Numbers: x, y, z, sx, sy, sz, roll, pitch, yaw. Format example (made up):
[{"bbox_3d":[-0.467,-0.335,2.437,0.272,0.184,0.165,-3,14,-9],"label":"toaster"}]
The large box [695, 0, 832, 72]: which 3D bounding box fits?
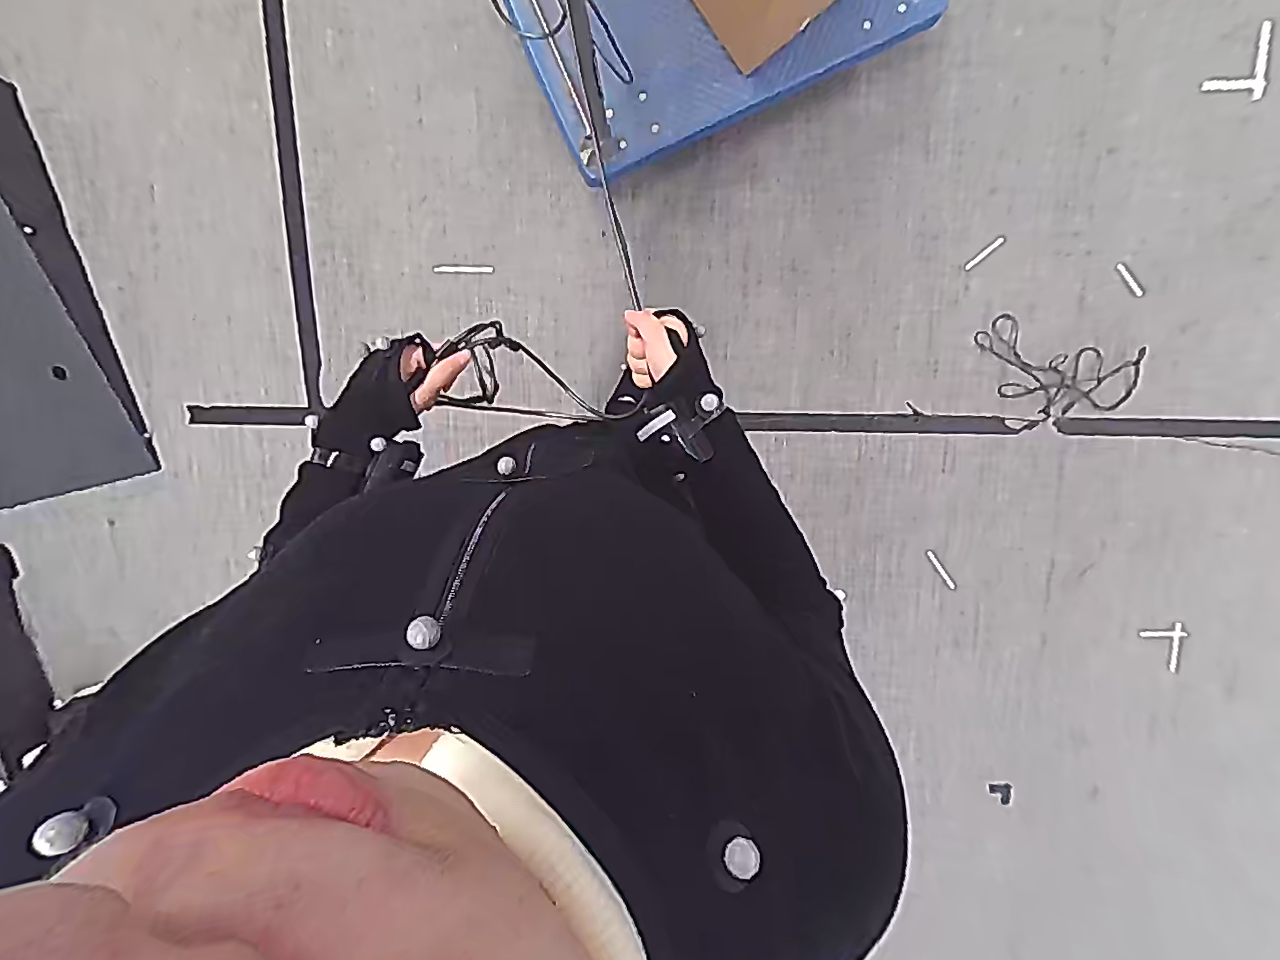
[{"bbox_3d":[0.226,-1.096,0.983,0.320,0.320,0.408,-39,98,6],"label":"large box"}]
